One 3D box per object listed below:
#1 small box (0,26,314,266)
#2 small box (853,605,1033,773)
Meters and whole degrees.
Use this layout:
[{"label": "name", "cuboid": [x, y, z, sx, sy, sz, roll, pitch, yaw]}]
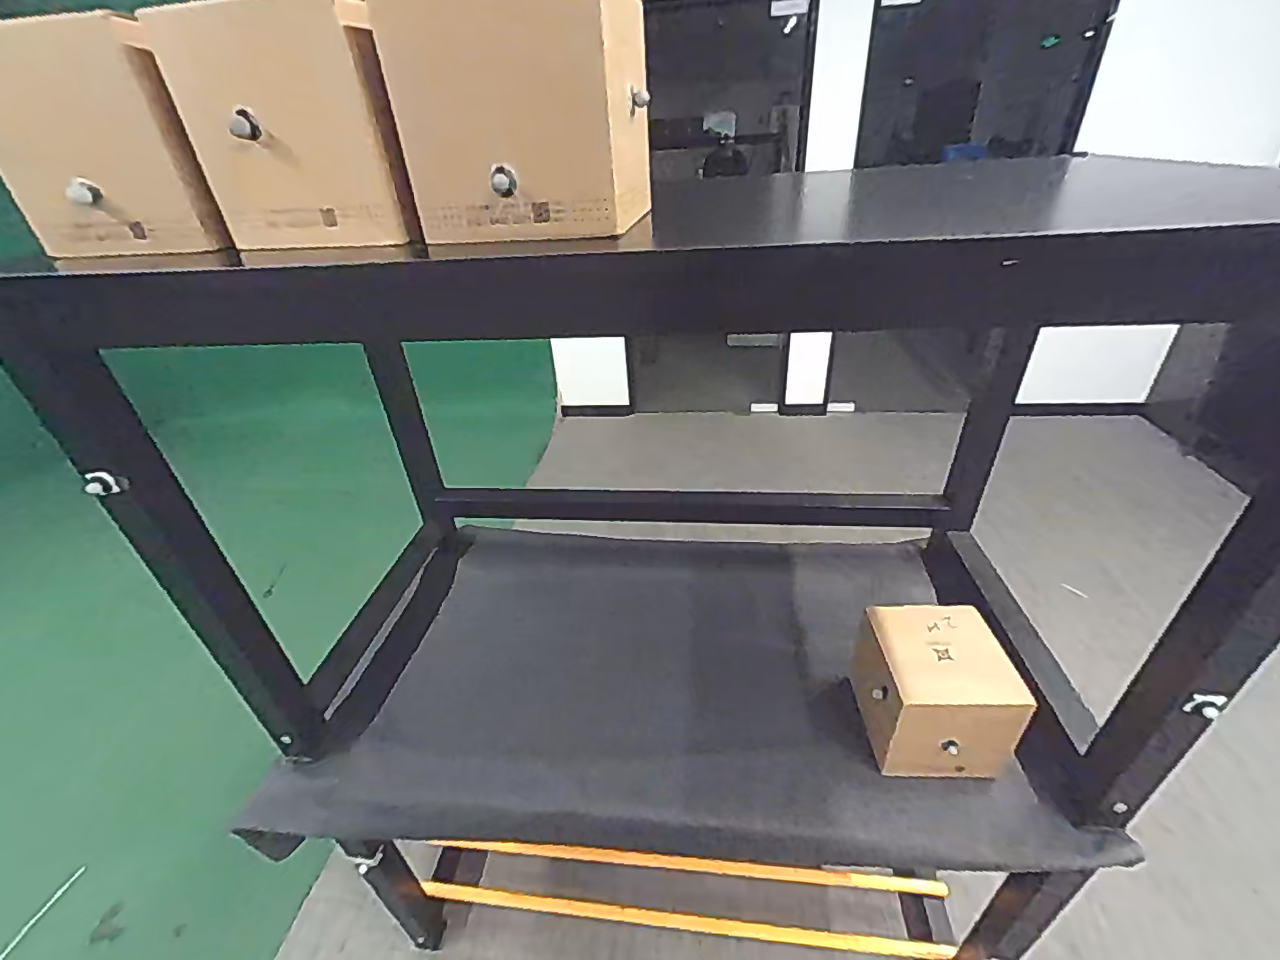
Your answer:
[{"label": "small box", "cuboid": [-0.452, -0.312, 0.520, 0.168, 0.176, 0.179, 0, 34, 6]}, {"label": "small box", "cuboid": [0.431, 0.309, 0.804, 0.168, 0.176, 0.179, -1, 32, 4]}]
